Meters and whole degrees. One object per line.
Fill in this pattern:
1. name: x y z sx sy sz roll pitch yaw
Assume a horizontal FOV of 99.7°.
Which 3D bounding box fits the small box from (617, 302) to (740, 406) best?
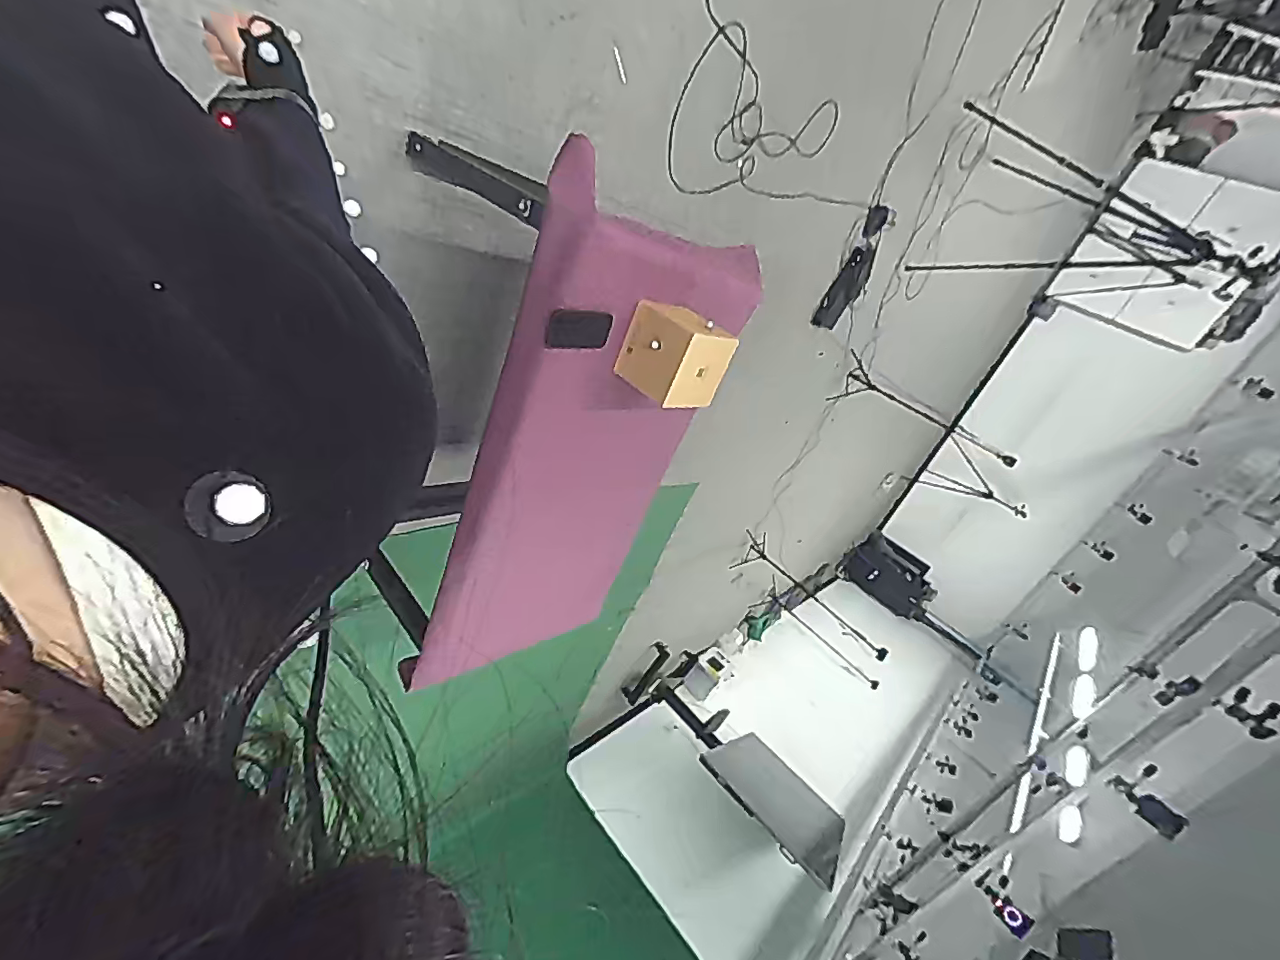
1. small box: 0.079 -0.272 1.176 0.179 0.176 0.168 -11 132 -49
